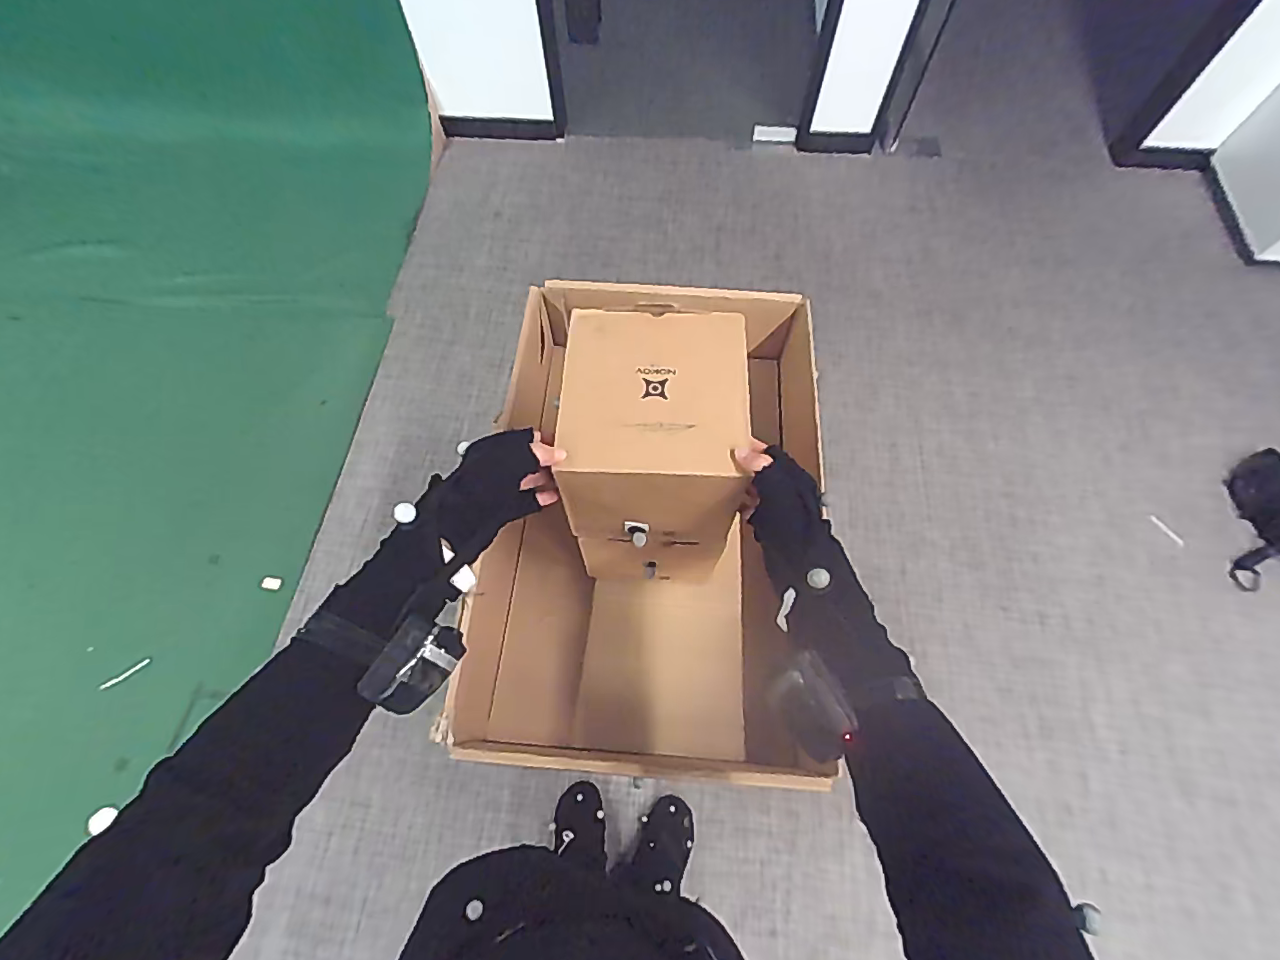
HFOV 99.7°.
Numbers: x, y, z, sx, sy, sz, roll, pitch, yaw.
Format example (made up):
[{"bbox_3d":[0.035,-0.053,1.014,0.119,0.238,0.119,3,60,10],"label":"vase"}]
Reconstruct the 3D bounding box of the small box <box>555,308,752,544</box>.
[{"bbox_3d":[0.015,-0.047,0.548,0.168,0.176,0.179,2,66,2],"label":"small box"}]

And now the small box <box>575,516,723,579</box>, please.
[{"bbox_3d":[0.016,0.022,0.694,0.168,0.176,0.179,4,66,1],"label":"small box"}]
